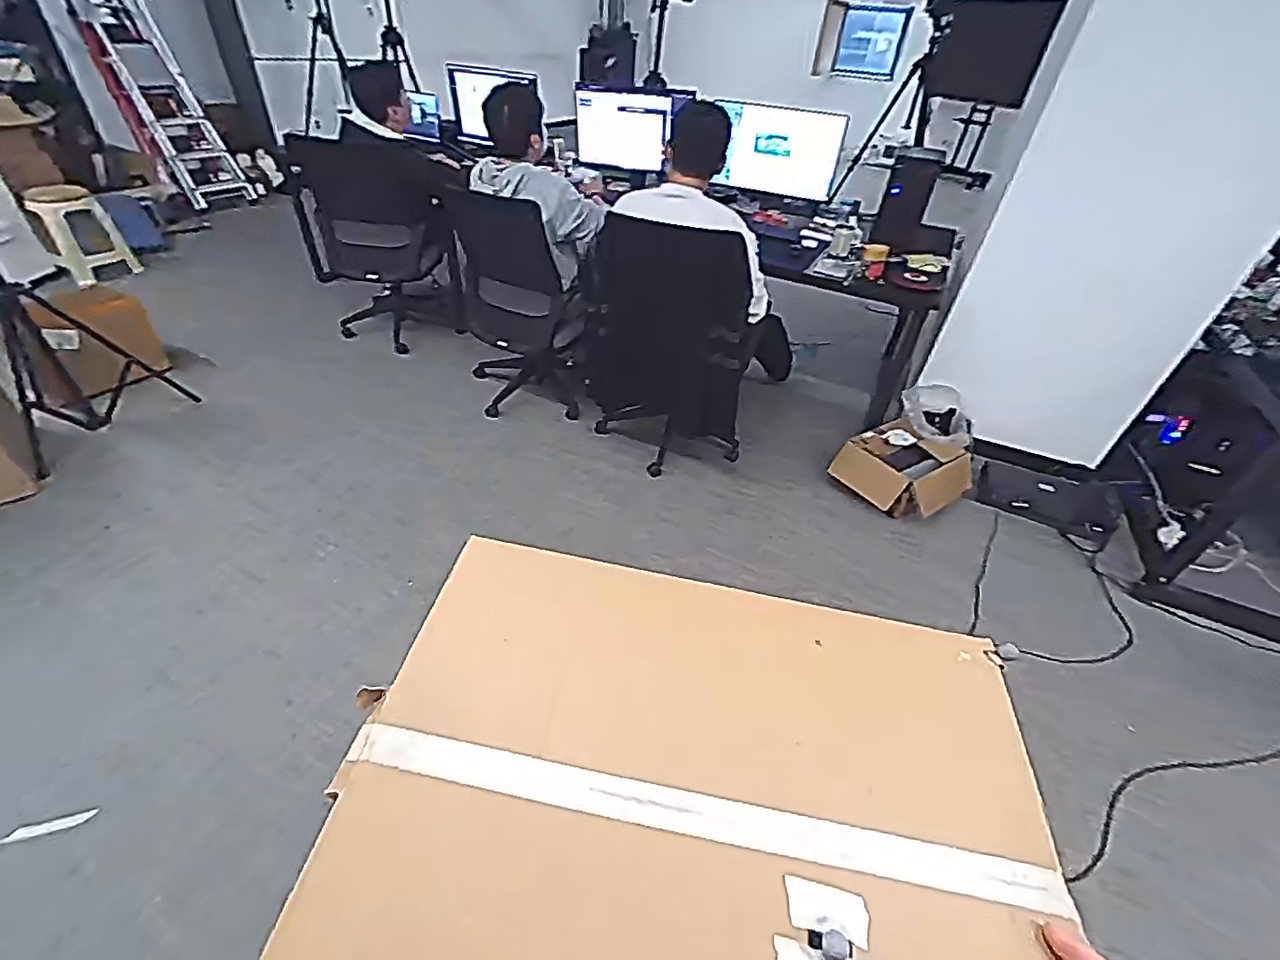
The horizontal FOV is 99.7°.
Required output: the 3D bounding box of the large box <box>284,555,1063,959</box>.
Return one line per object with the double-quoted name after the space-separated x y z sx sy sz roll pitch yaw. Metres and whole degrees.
0.020 0.301 0.426 0.408 0.320 0.320 11 47 2 "large box"
